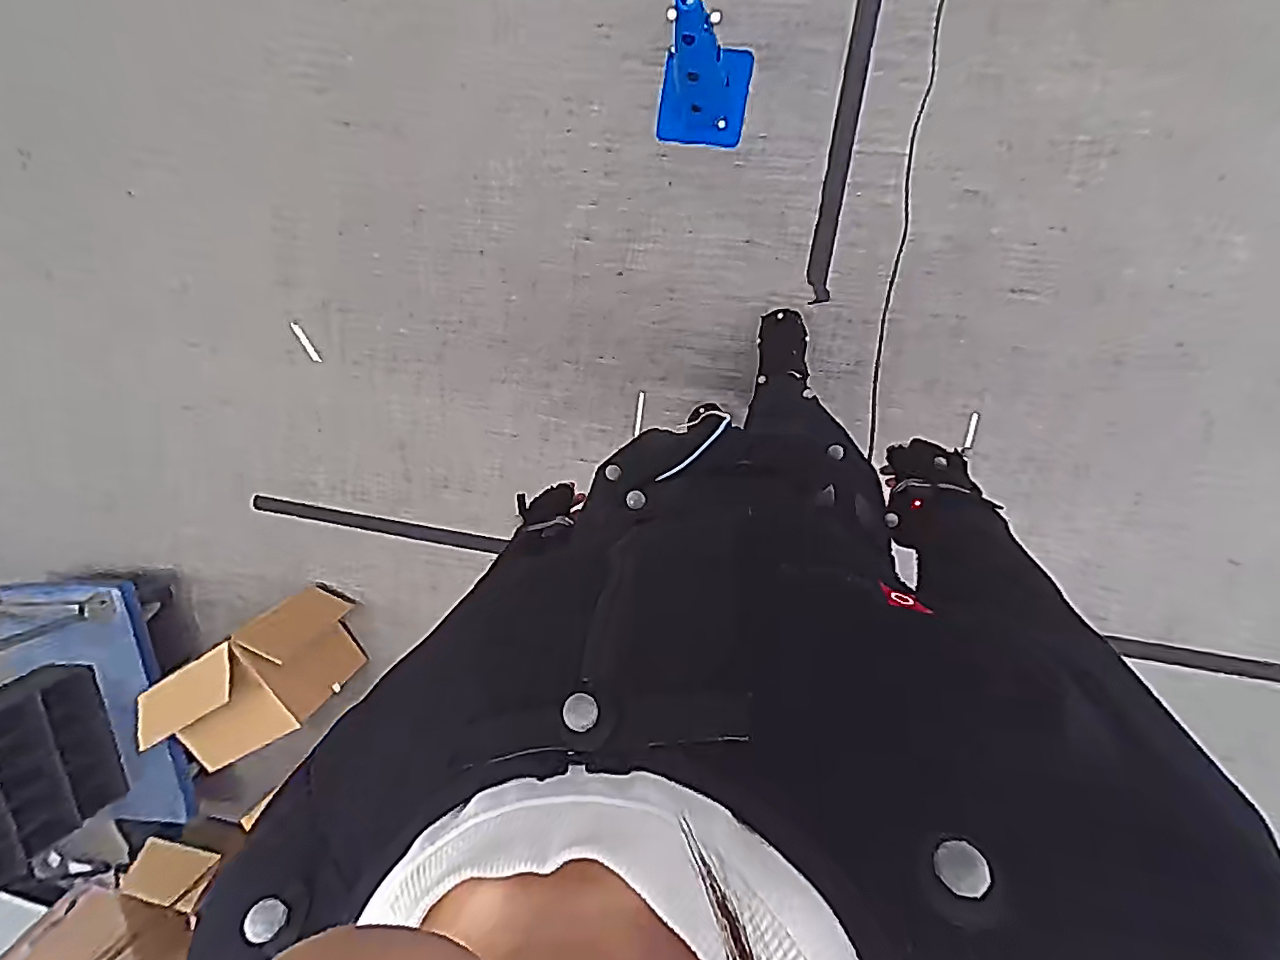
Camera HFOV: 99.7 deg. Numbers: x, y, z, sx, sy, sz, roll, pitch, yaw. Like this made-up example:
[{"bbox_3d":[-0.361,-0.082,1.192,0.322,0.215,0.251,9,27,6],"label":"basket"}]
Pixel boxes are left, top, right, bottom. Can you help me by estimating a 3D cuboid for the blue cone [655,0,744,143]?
[{"bbox_3d":[0.101,-0.850,1.085,0.192,0.380,0.193,13,104,9],"label":"blue cone"}]
